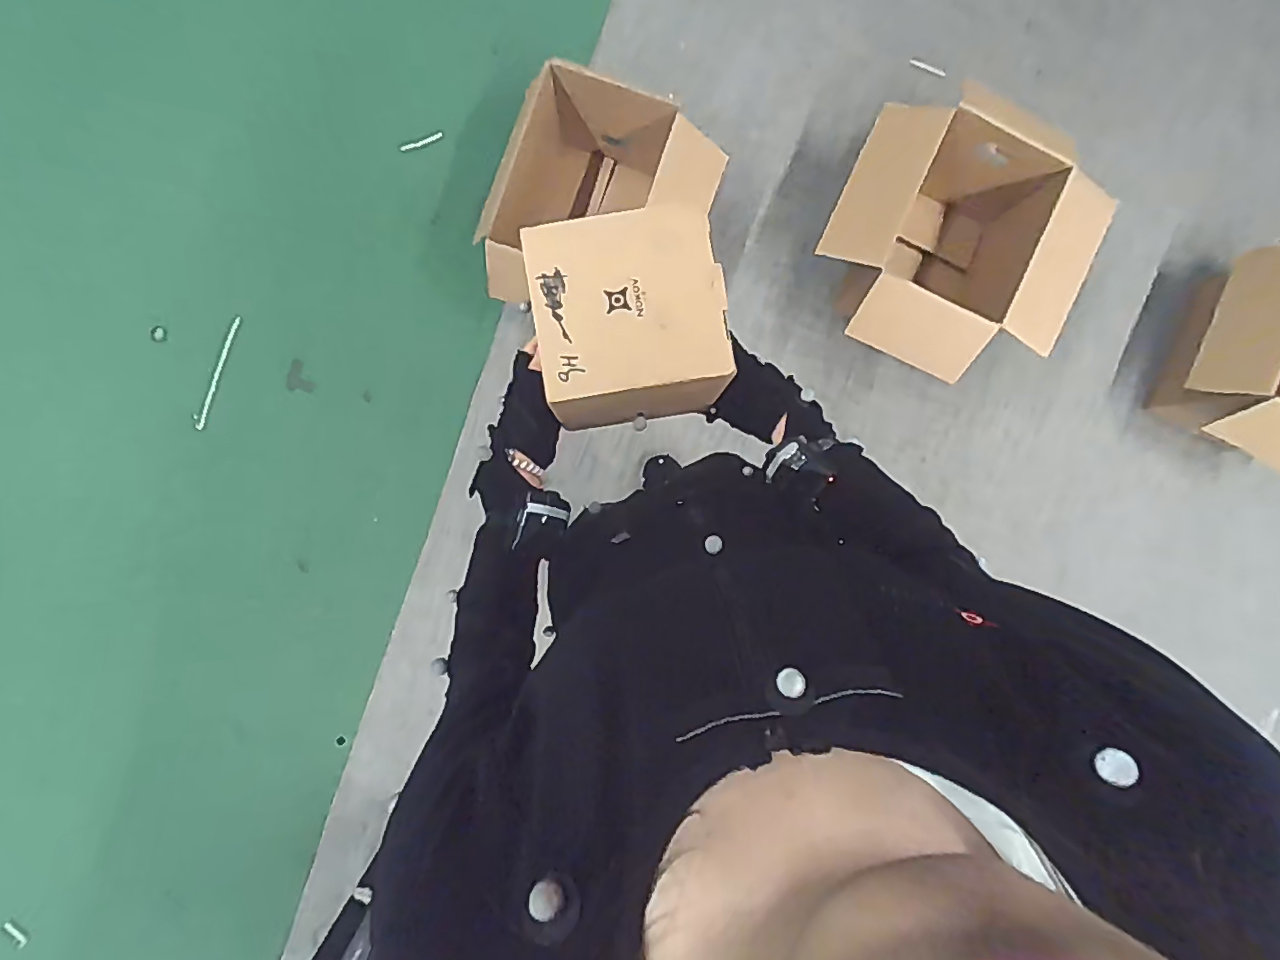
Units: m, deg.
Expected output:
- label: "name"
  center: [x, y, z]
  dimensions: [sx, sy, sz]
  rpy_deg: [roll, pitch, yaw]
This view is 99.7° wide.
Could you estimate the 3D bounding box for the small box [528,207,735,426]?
- label: "small box"
  center: [-0.012, -0.159, 0.576]
  dimensions: [0.179, 0.176, 0.168]
  rpy_deg: [-8, 86, -3]
